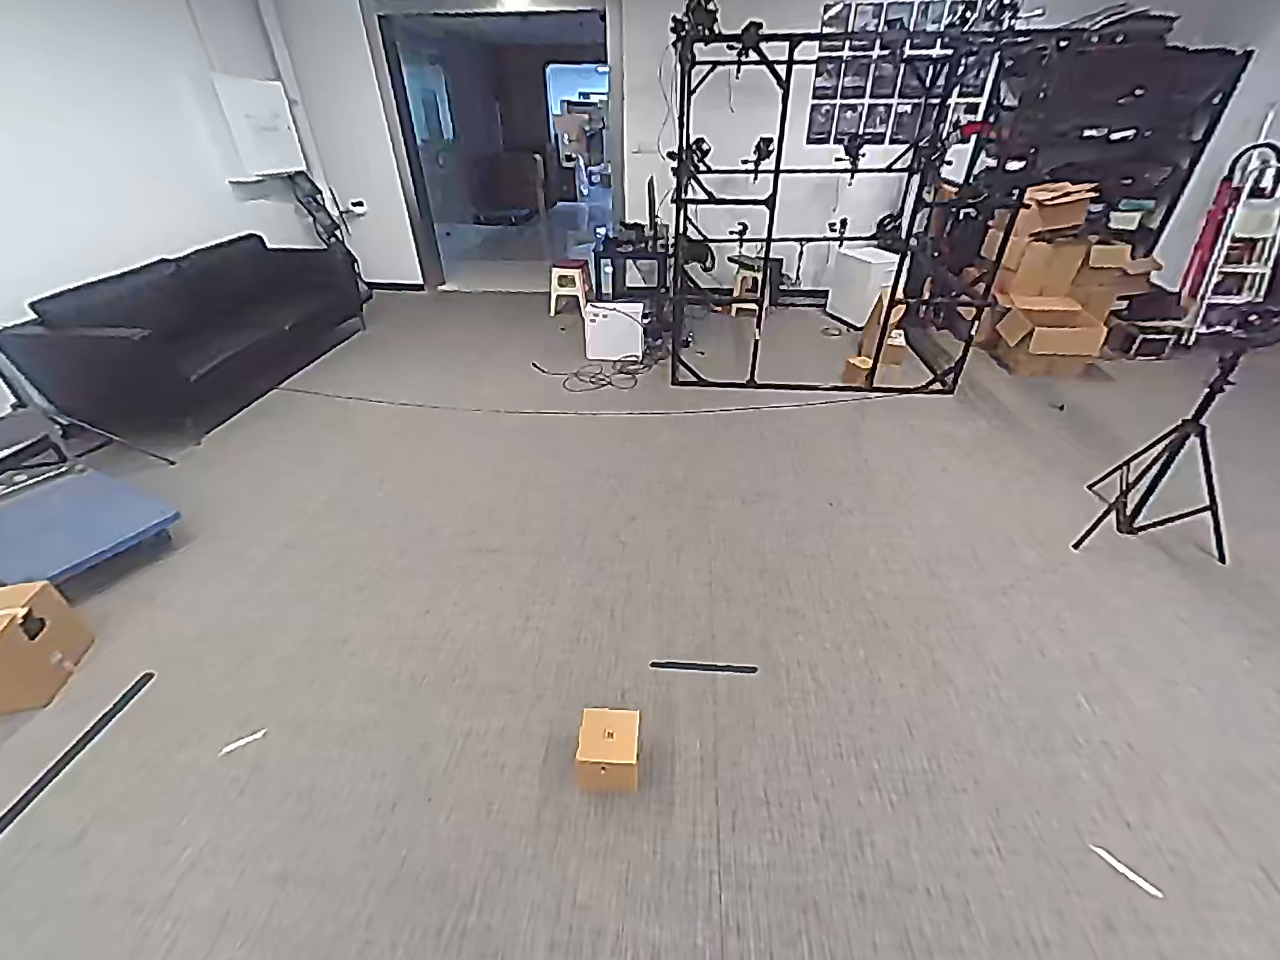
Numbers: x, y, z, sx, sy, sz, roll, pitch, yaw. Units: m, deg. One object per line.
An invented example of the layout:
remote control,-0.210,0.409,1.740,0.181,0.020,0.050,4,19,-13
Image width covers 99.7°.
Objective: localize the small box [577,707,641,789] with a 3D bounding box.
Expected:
small box,-0.088,0.818,1.648,0.179,0.176,0.168,1,35,4
